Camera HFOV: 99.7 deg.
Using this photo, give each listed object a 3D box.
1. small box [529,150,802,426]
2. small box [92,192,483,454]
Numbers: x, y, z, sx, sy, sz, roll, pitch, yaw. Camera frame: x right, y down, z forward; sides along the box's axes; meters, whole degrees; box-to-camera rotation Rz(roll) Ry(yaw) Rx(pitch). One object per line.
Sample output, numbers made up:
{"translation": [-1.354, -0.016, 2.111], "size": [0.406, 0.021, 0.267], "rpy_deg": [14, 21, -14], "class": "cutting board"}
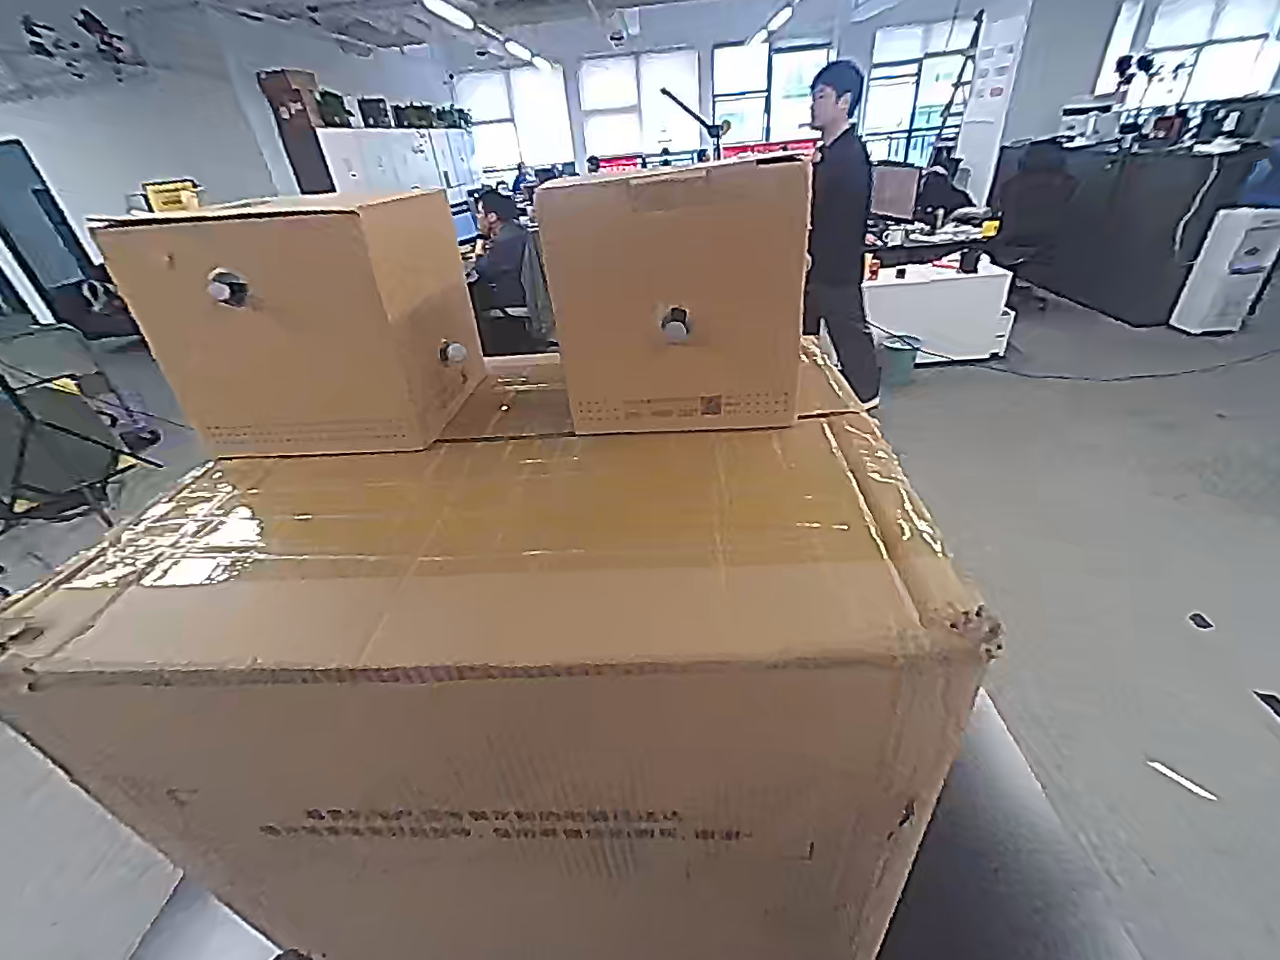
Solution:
{"translation": [0.030, -0.148, 0.425], "size": [0.168, 0.176, 0.179], "rpy_deg": [-2, 31, 8], "class": "small box"}
{"translation": [-0.249, -0.129, 0.439], "size": [0.179, 0.176, 0.168], "rpy_deg": [-2, 32, 4], "class": "small box"}
